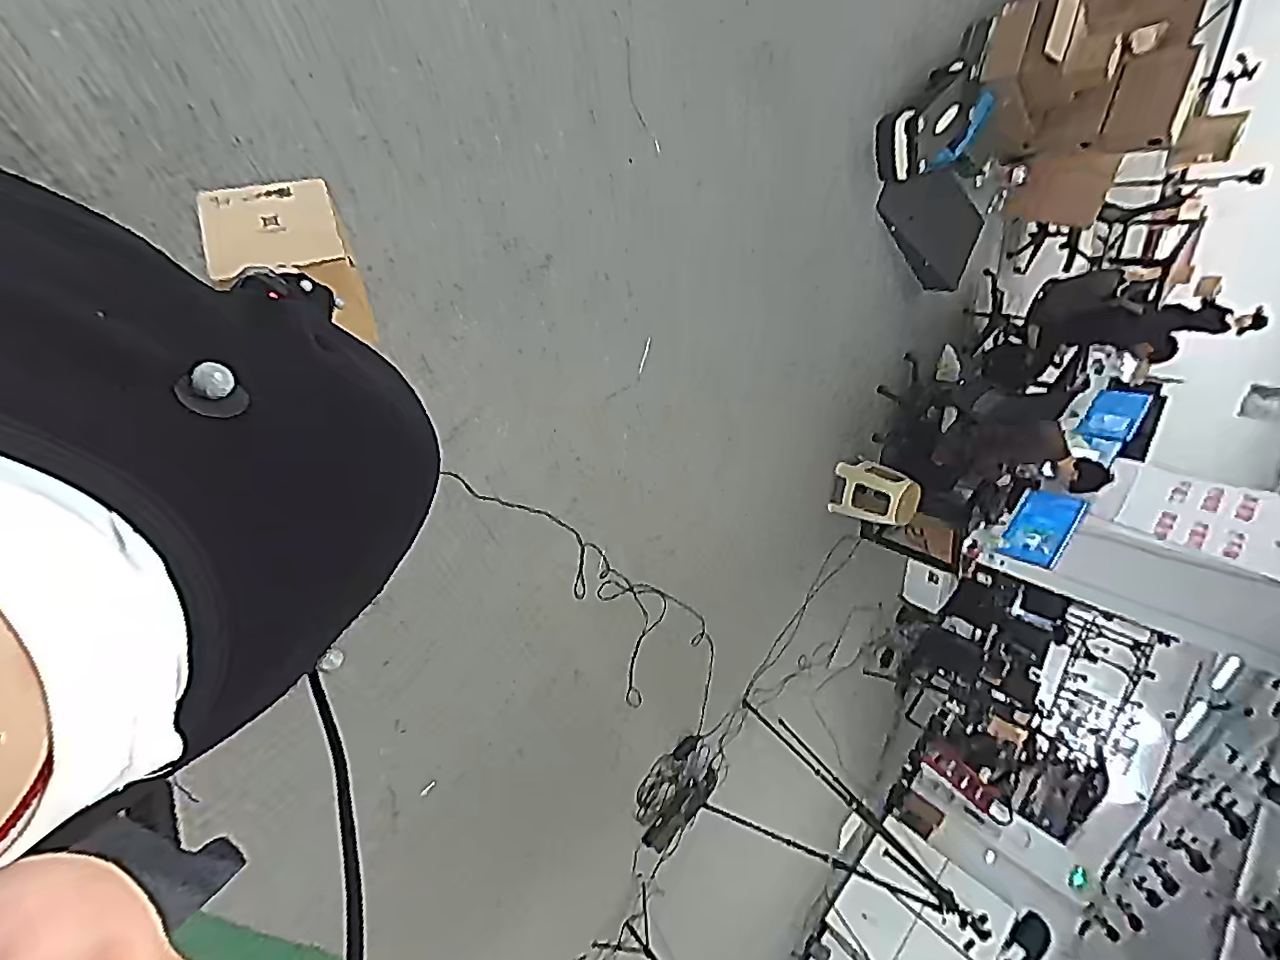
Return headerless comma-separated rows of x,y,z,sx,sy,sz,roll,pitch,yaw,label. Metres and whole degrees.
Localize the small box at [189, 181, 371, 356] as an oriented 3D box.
-0.528,-0.308,0.814,0.168,0.179,0.176,-20,158,-19,small box
